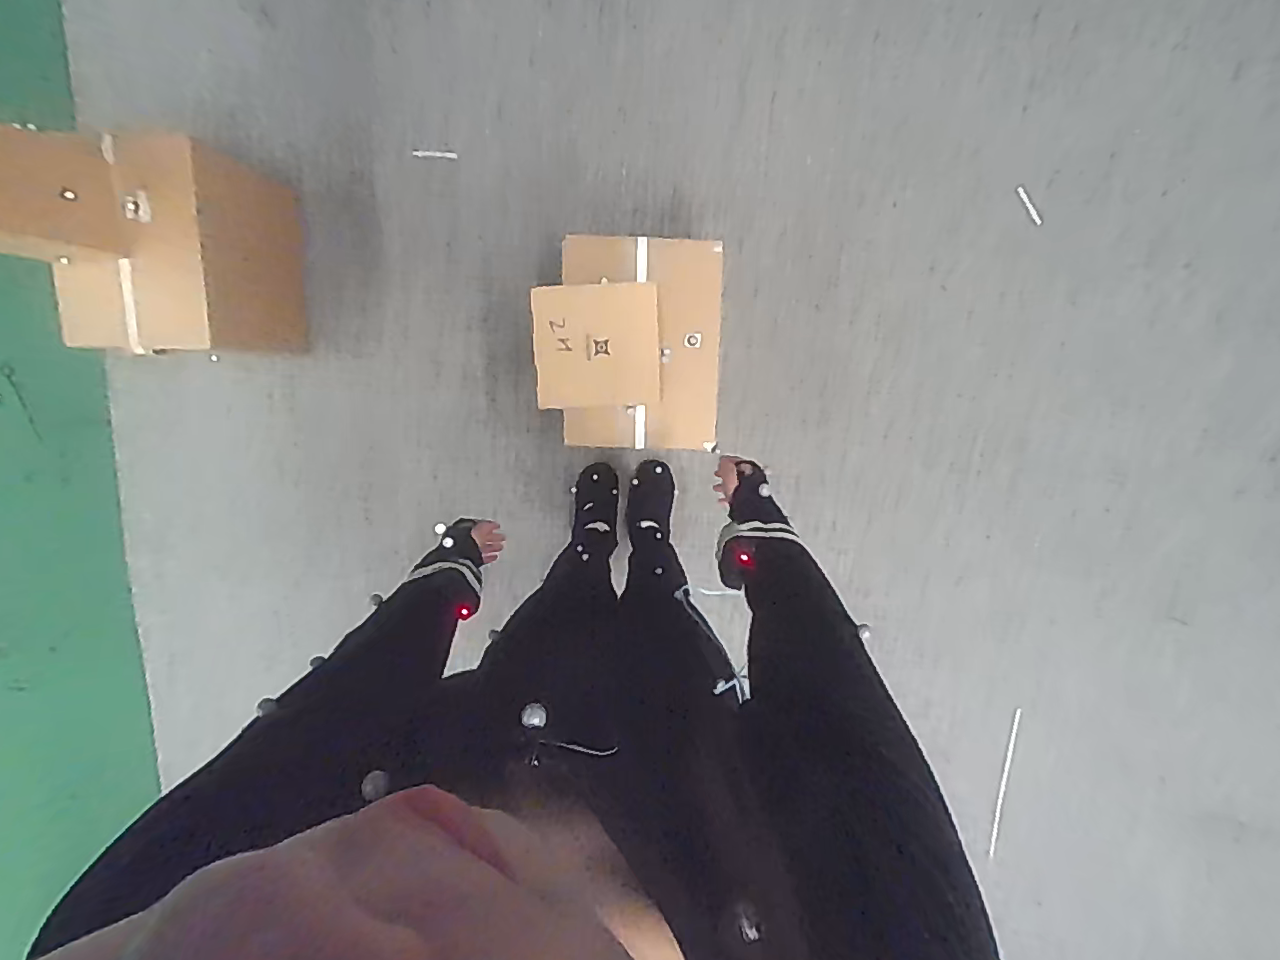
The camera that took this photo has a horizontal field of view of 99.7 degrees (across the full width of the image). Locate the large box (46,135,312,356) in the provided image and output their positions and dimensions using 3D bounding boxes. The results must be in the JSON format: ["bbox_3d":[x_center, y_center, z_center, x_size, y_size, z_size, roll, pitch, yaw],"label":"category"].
[{"bbox_3d":[-0.995,-0.492,1.219,0.320,0.320,0.408,2,100,2],"label":"large box"}]

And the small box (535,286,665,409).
[{"bbox_3d":[-0.051,-0.196,0.824,0.179,0.176,0.168,-1,100,4],"label":"small box"}]

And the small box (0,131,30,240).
[{"bbox_3d":[-1.097,-0.476,0.812,0.168,0.176,0.179,3,102,5],"label":"small box"}]
